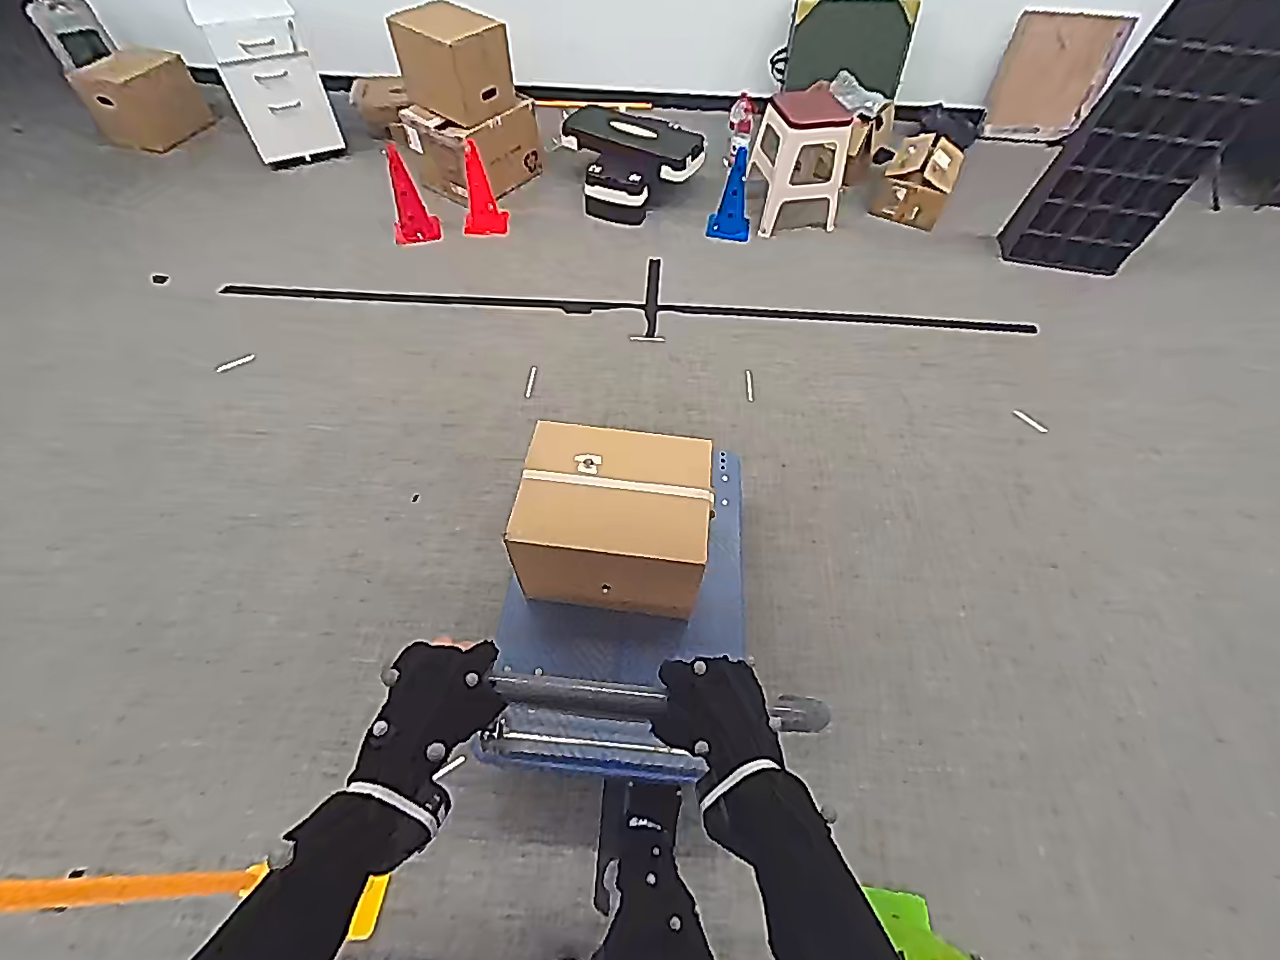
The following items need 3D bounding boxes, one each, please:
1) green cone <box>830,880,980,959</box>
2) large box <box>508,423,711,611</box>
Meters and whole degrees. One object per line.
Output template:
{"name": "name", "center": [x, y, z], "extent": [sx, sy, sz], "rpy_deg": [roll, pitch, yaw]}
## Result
{"name": "green cone", "center": [0.501, 0.853, 0.959], "extent": [0.202, 0.368, 0.200], "rpy_deg": [8, 56, 1]}
{"name": "large box", "center": [-0.053, 0.095, 1.277], "extent": [0.408, 0.320, 0.320], "rpy_deg": [7, 56, 3]}
